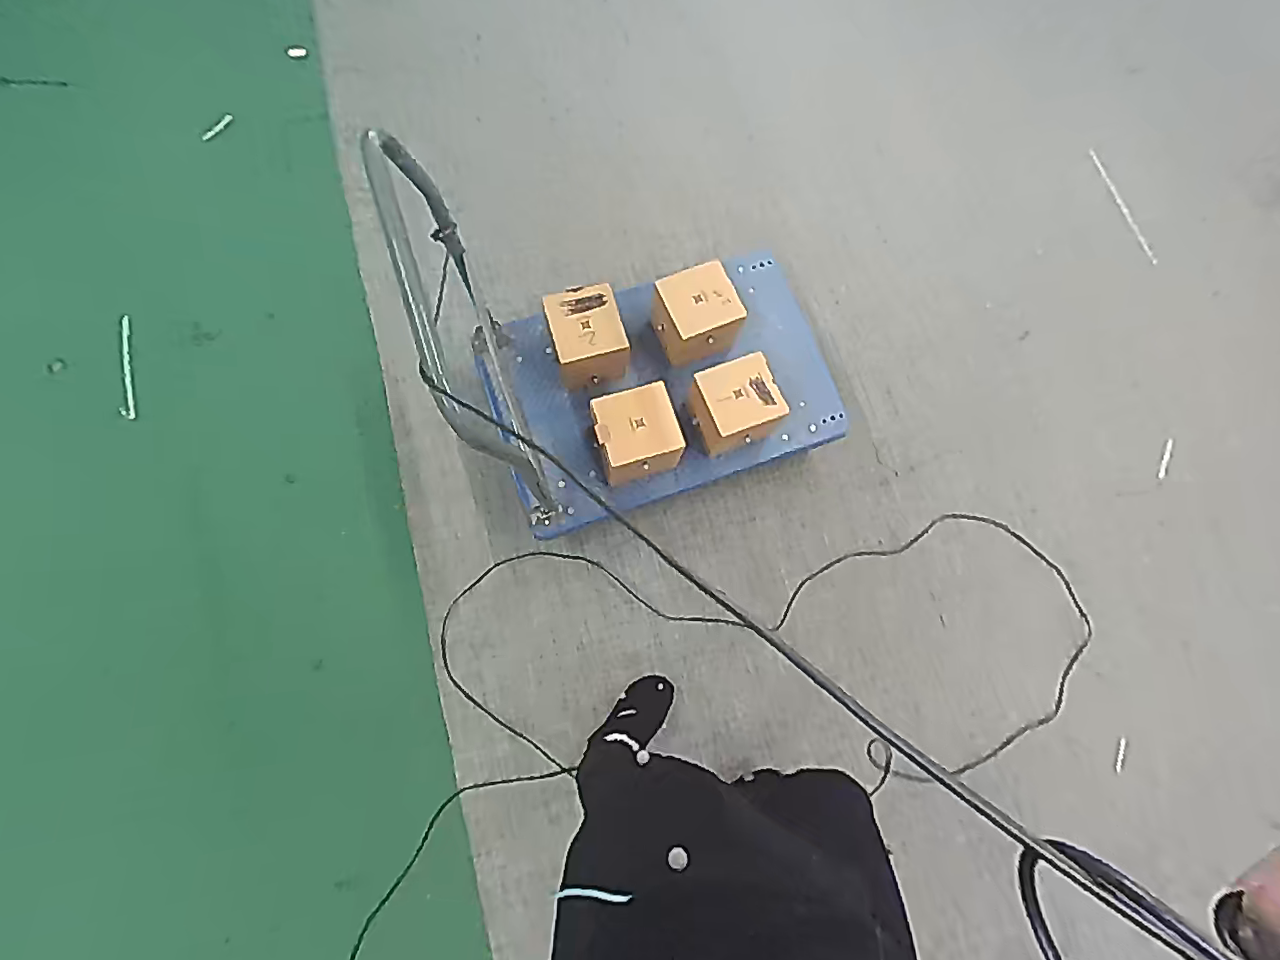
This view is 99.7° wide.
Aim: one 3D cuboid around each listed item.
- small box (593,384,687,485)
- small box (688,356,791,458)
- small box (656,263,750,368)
[{"bbox_3d":[-0.006,-0.102,1.274,0.179,0.176,0.168,-16,77,-7],"label":"small box"},{"bbox_3d":[0.232,-0.170,1.304,0.179,0.176,0.168,-20,77,-8],"label":"small box"},{"bbox_3d":[0.147,-0.405,1.357,0.179,0.176,0.168,-22,79,-9],"label":"small box"}]
